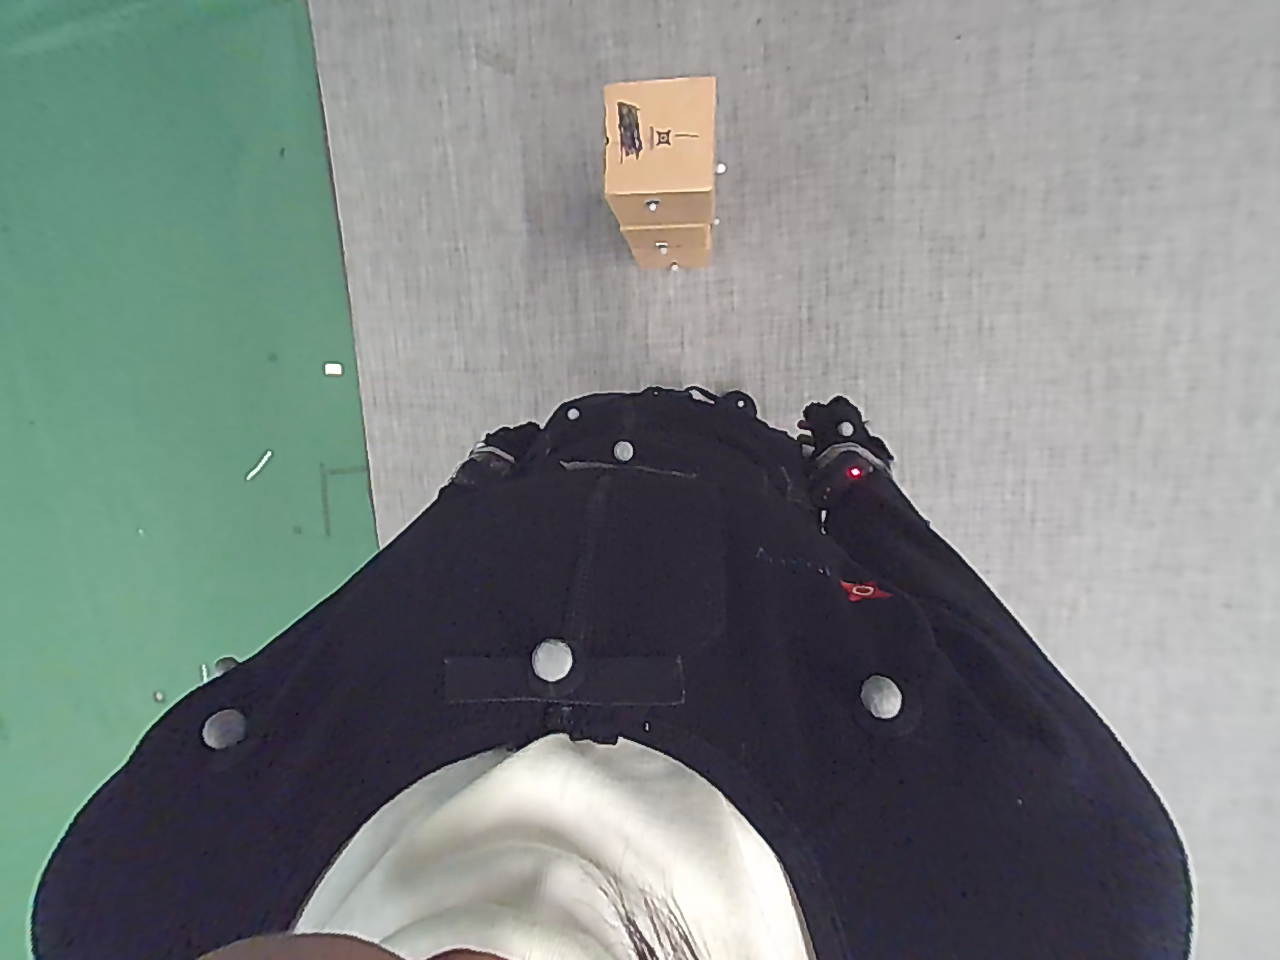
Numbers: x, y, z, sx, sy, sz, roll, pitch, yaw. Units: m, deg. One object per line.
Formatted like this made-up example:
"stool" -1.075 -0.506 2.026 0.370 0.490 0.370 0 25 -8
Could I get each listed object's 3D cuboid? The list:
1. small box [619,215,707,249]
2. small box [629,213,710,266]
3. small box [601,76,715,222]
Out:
"small box" 0.051 -0.581 1.091 0.168 0.176 0.179 1 100 9
"small box" 0.073 -0.602 1.251 0.179 0.176 0.168 2 99 7
"small box" 0.036 -0.555 0.929 0.179 0.176 0.168 2 100 8
